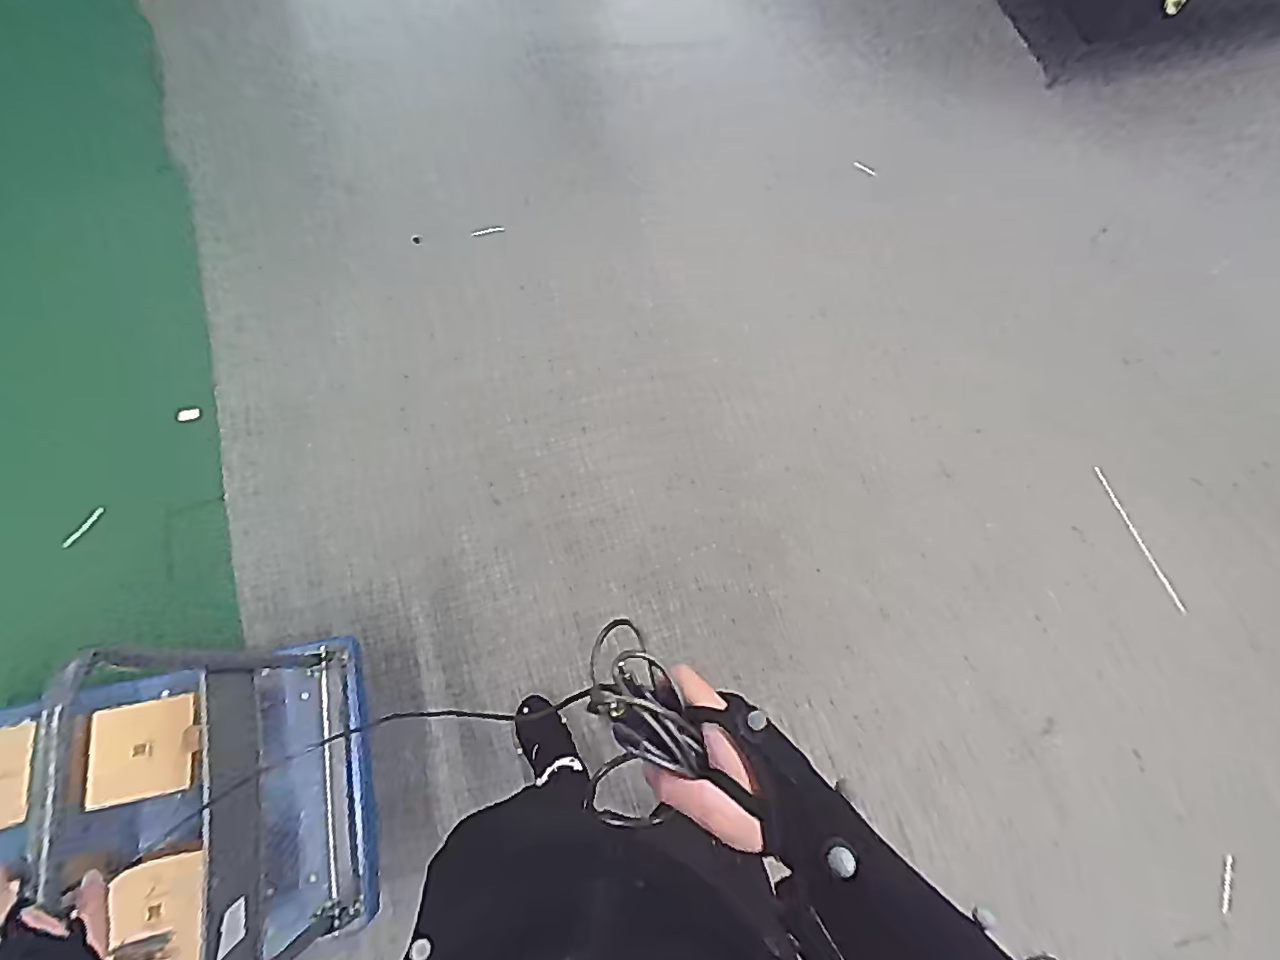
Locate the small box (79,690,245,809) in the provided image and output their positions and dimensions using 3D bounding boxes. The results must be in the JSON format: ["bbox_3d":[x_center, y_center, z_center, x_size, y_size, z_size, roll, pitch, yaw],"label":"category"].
[{"bbox_3d":[-0.916,0.513,1.054,0.179,0.176,0.168,-9,73,-10],"label":"small box"}]

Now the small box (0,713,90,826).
[{"bbox_3d":[-1.168,0.550,1.014,0.179,0.176,0.168,-12,75,-10],"label":"small box"}]

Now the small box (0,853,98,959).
[{"bbox_3d":[-1.107,0.789,0.943,0.179,0.176,0.168,-14,73,-10],"label":"small box"}]
